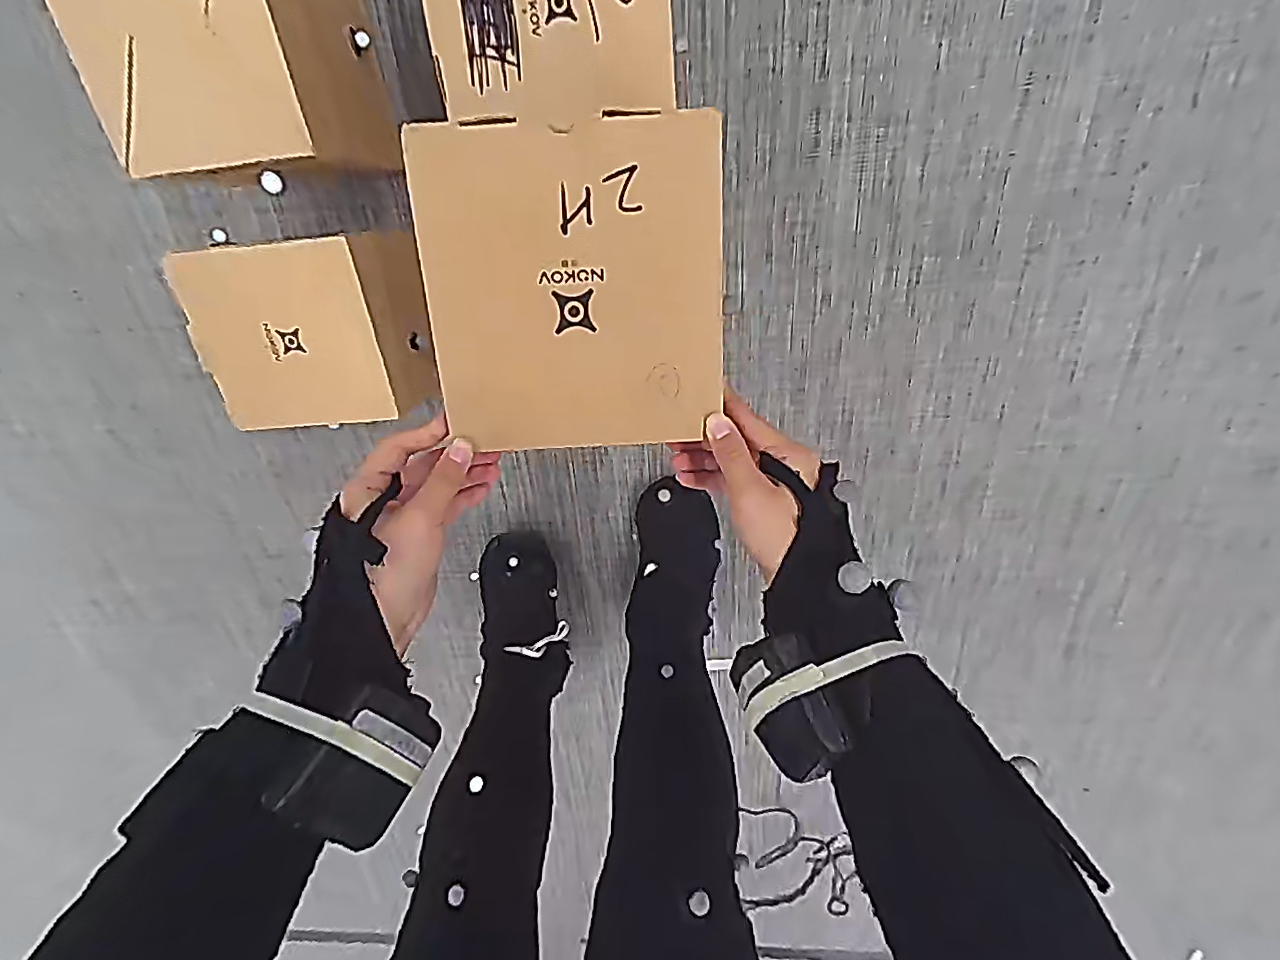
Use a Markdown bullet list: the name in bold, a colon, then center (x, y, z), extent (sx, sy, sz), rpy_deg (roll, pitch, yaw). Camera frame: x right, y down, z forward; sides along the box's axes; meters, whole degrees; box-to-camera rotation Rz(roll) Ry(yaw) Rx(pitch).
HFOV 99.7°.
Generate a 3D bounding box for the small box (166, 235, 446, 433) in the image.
- **small box**: center (-0.316, -0.160, 0.568), extent (0.179, 0.176, 0.168), rpy_deg (-3, 116, 5)

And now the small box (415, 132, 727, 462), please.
- **small box**: center (-0.034, -0.121, 0.382), extent (0.168, 0.176, 0.179), rpy_deg (-3, 108, 0)
